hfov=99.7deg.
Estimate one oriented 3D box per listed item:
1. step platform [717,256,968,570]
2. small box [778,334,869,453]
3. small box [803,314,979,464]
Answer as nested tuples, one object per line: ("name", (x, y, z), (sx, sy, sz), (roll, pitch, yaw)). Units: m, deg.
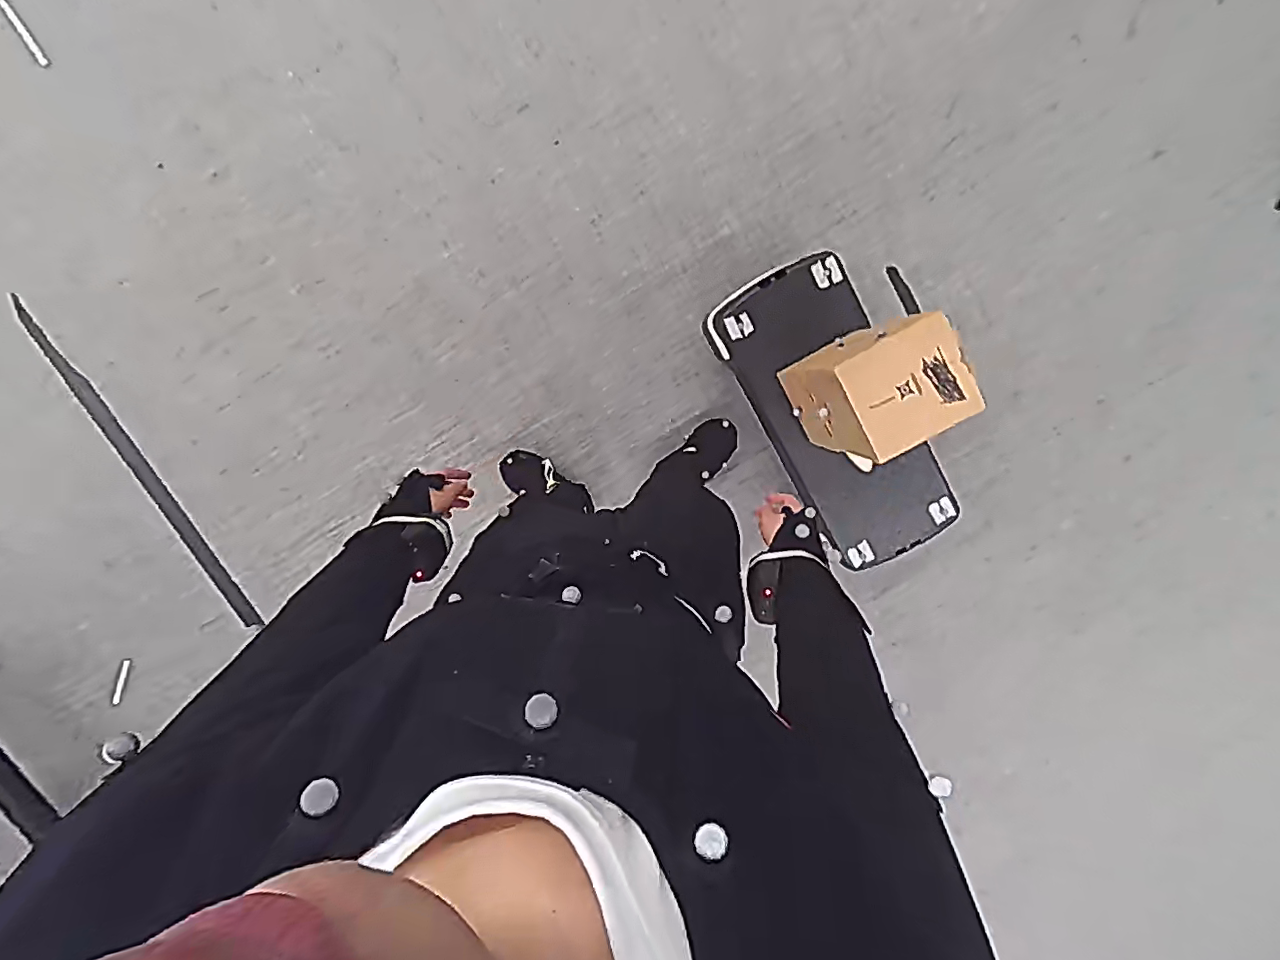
("step platform", (0.450, -0.138, 1.226), (0.286, 0.204, 0.684), (-30, 98, 4))
("small box", (0.394, -0.172, 1.044), (0.179, 0.176, 0.168), (-28, 98, 5))
("small box", (0.396, -0.148, 0.882), (0.179, 0.176, 0.168), (-29, 98, 5))
